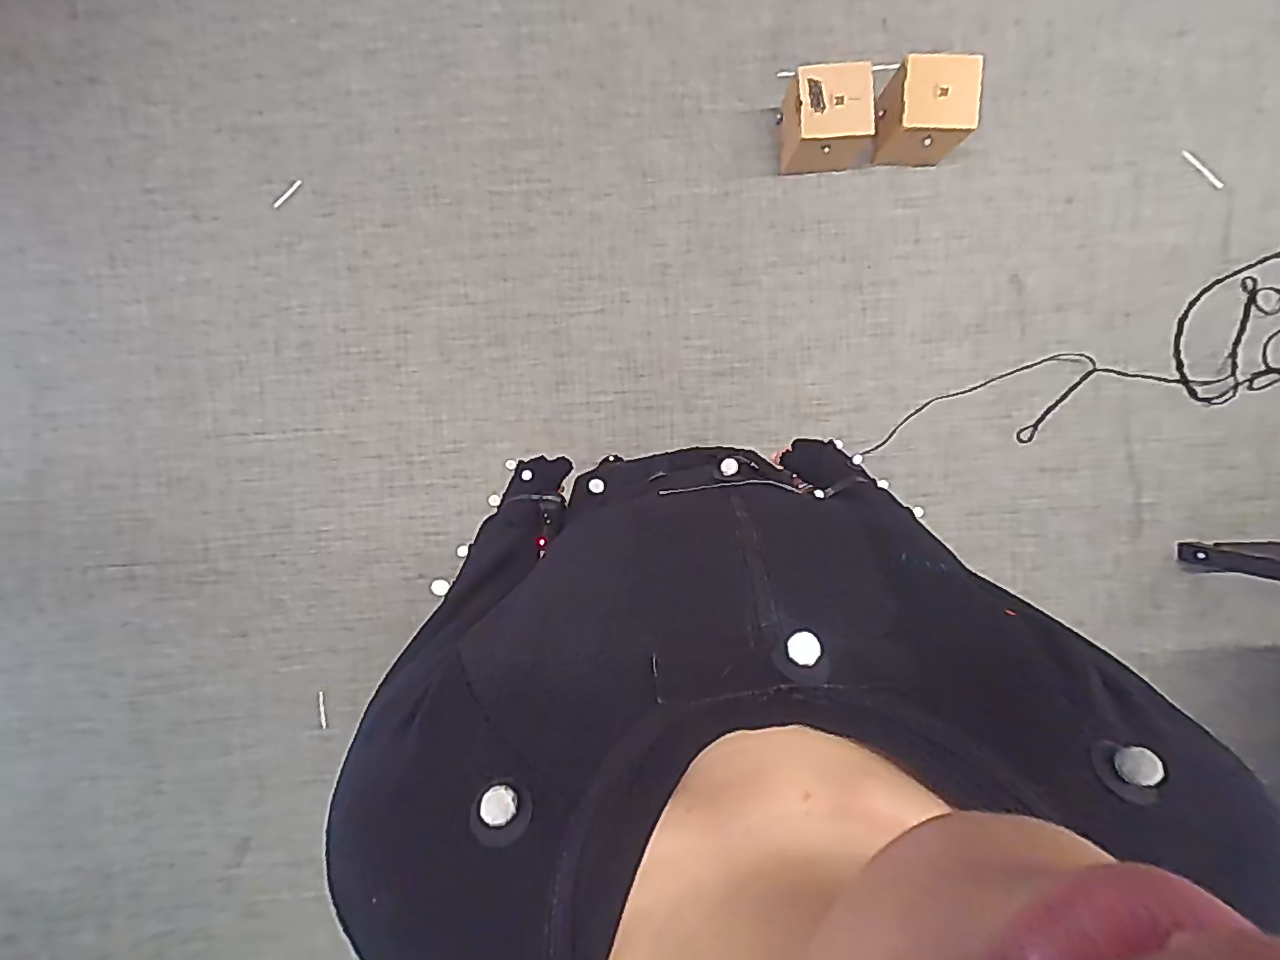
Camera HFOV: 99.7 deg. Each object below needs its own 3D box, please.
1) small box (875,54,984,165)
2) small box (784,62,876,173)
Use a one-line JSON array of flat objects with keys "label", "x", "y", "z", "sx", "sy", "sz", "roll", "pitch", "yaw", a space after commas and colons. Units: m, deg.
[{"label": "small box", "x": 0.703, "y": -0.900, "z": 1.327, "sx": 0.179, "sy": 0.176, "sz": 0.168, "roll": 2, "pitch": 94, "yaw": 2}, {"label": "small box", "x": 0.458, "y": -0.882, "z": 1.331, "sx": 0.179, "sy": 0.176, "sz": 0.168, "roll": -4, "pitch": 94, "yaw": 1}]
